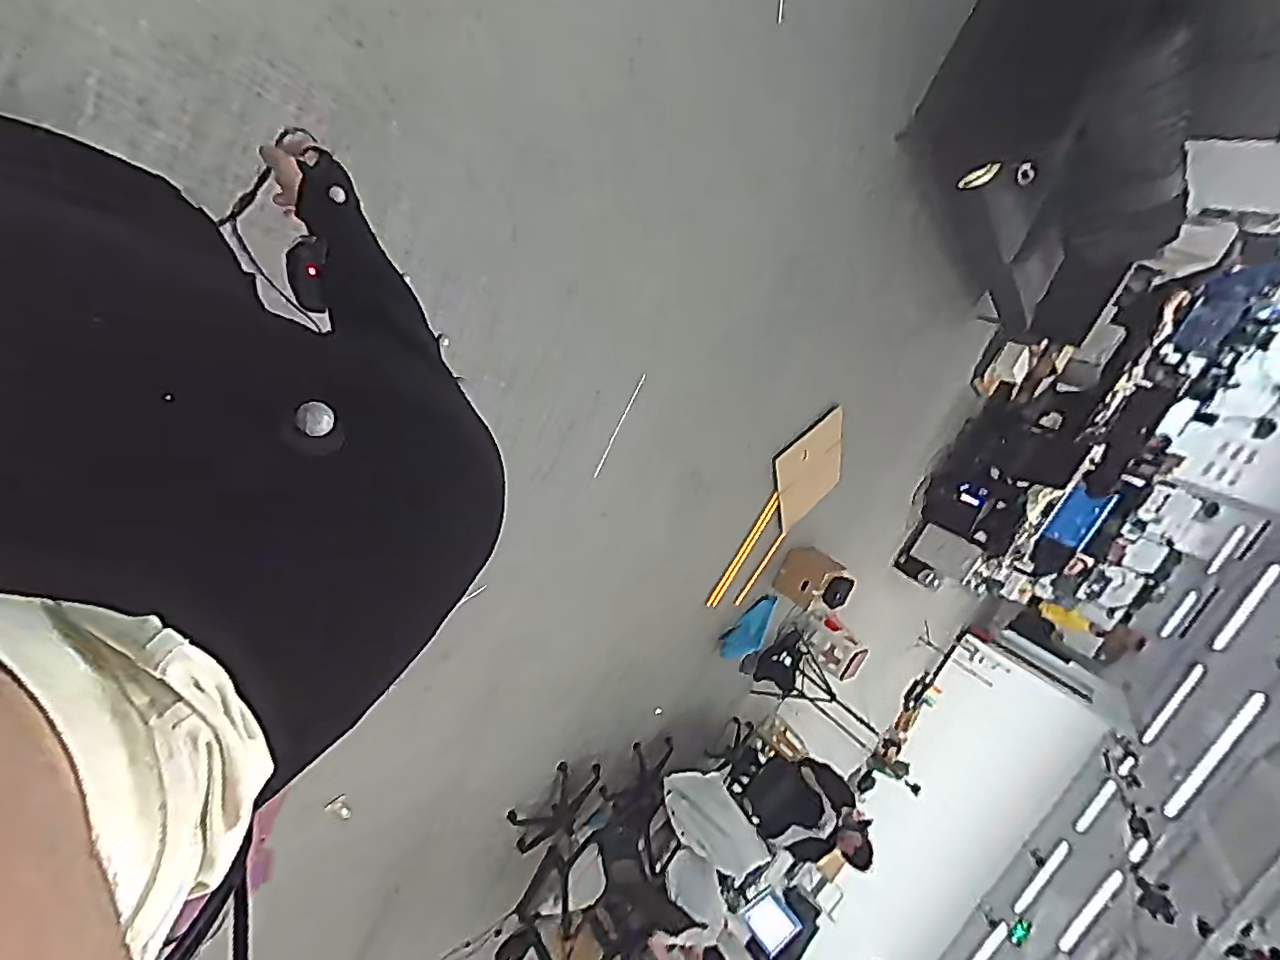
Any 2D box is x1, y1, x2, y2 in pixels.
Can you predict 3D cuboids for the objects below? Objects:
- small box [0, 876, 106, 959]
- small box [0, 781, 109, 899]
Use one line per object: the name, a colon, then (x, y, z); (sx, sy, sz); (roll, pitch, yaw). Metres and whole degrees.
small box: (-0.784, 0.644, 0.660); (0.168, 0.176, 0.179); (15, 104, -48)
small box: (-0.885, 0.570, 0.764); (0.168, 0.176, 0.179); (18, 103, -49)
